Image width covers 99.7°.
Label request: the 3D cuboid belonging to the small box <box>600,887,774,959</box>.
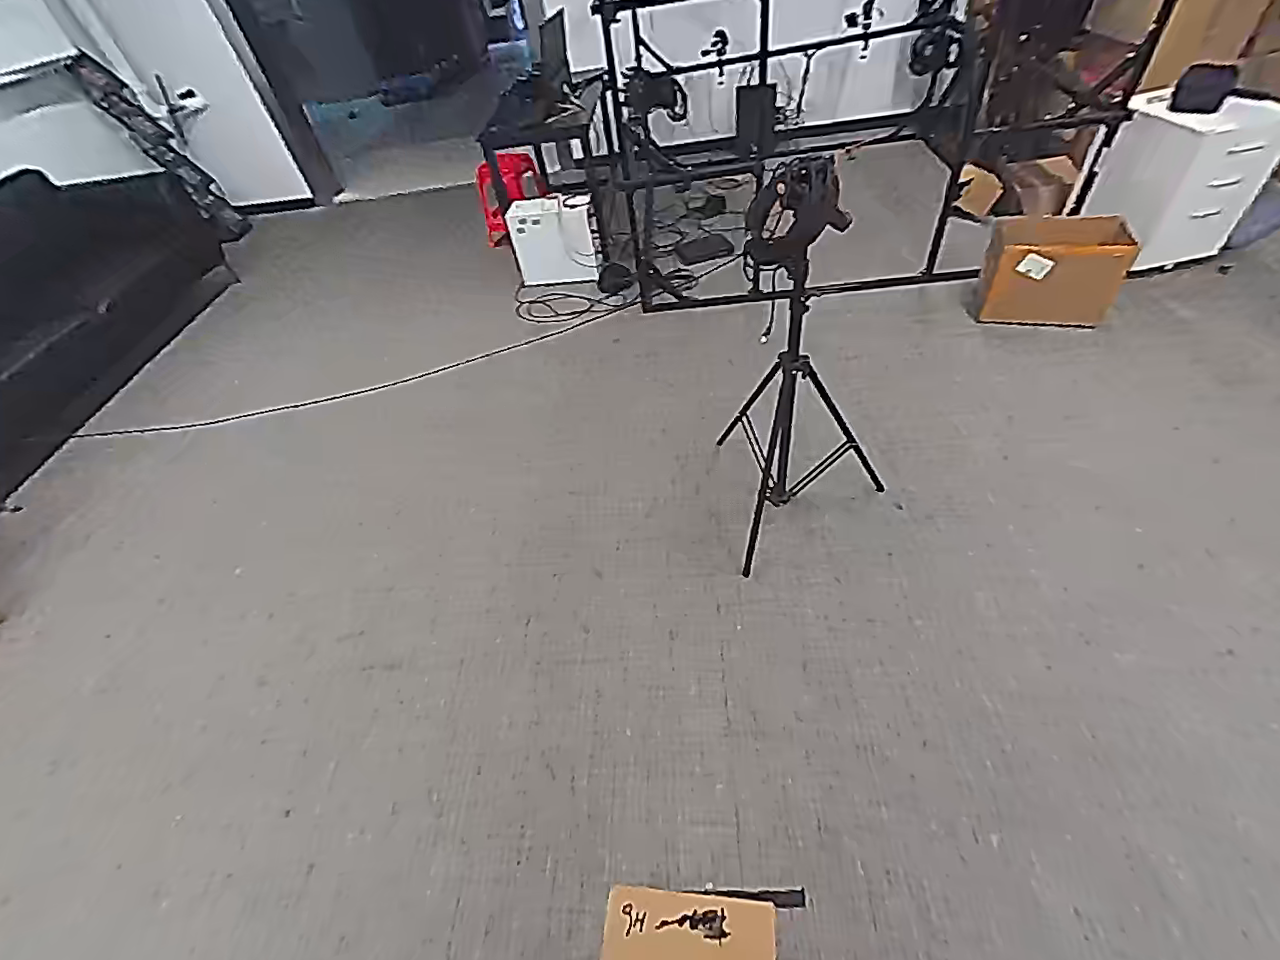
[{"bbox_3d":[0.051,0.532,0.542,0.168,0.176,0.179,-2,48,11],"label":"small box"}]
